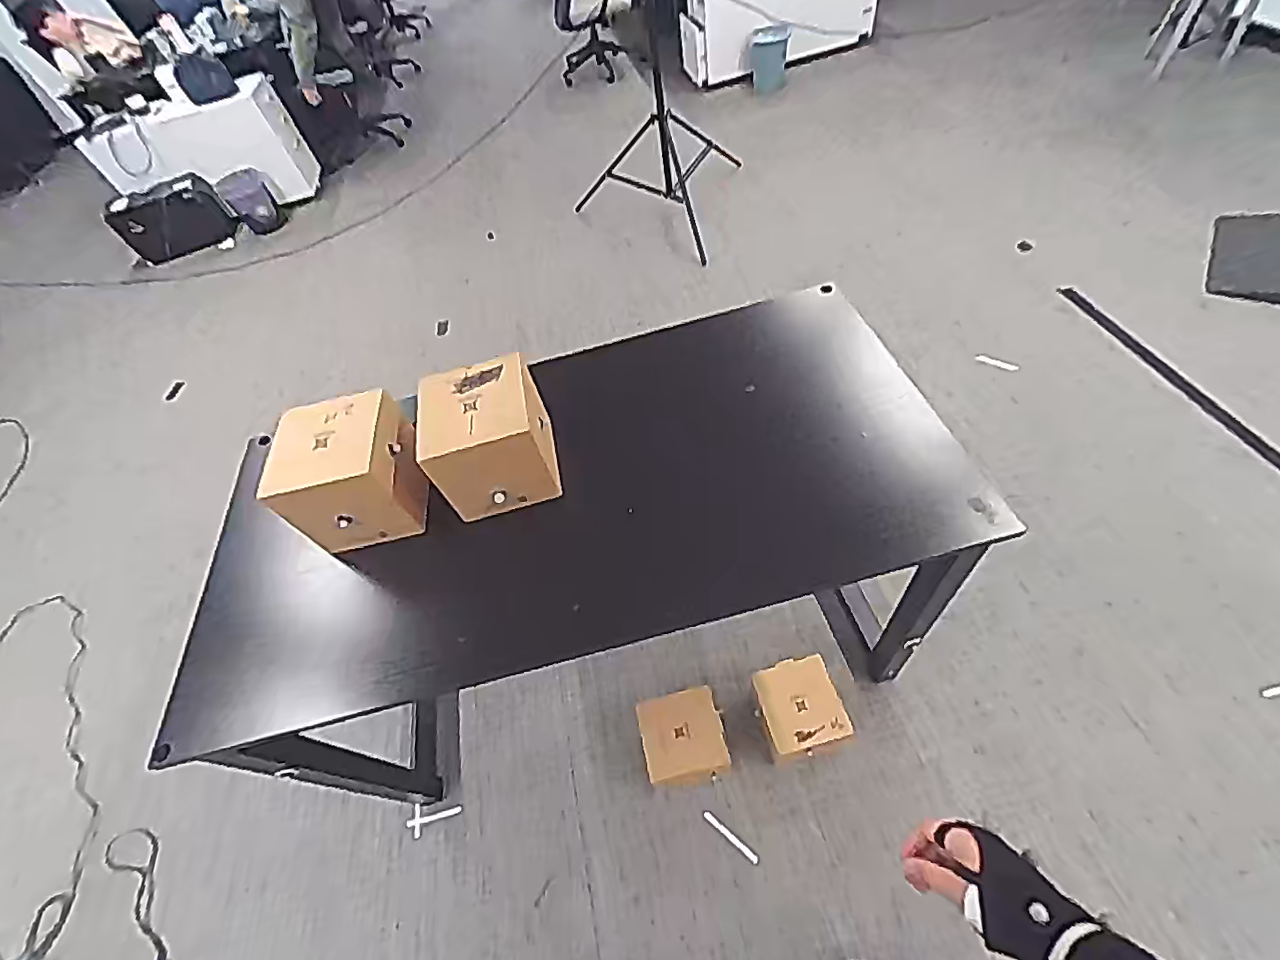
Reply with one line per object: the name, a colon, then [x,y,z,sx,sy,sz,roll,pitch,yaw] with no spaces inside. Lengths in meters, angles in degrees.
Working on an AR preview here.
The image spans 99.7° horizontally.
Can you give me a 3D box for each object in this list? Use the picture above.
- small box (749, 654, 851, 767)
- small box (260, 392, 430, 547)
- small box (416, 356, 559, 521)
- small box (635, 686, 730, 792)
small box: [0.353,0.525,1.227,0.168,0.176,0.179,-17,52,0]
small box: [-0.456,-0.008,0.868,0.168,0.176,0.179,-13,53,2]
small box: [-0.238,-0.063,0.864,0.168,0.176,0.179,-16,54,-1]
small box: [0.100,0.593,1.233,0.179,0.176,0.168,-16,52,1]
